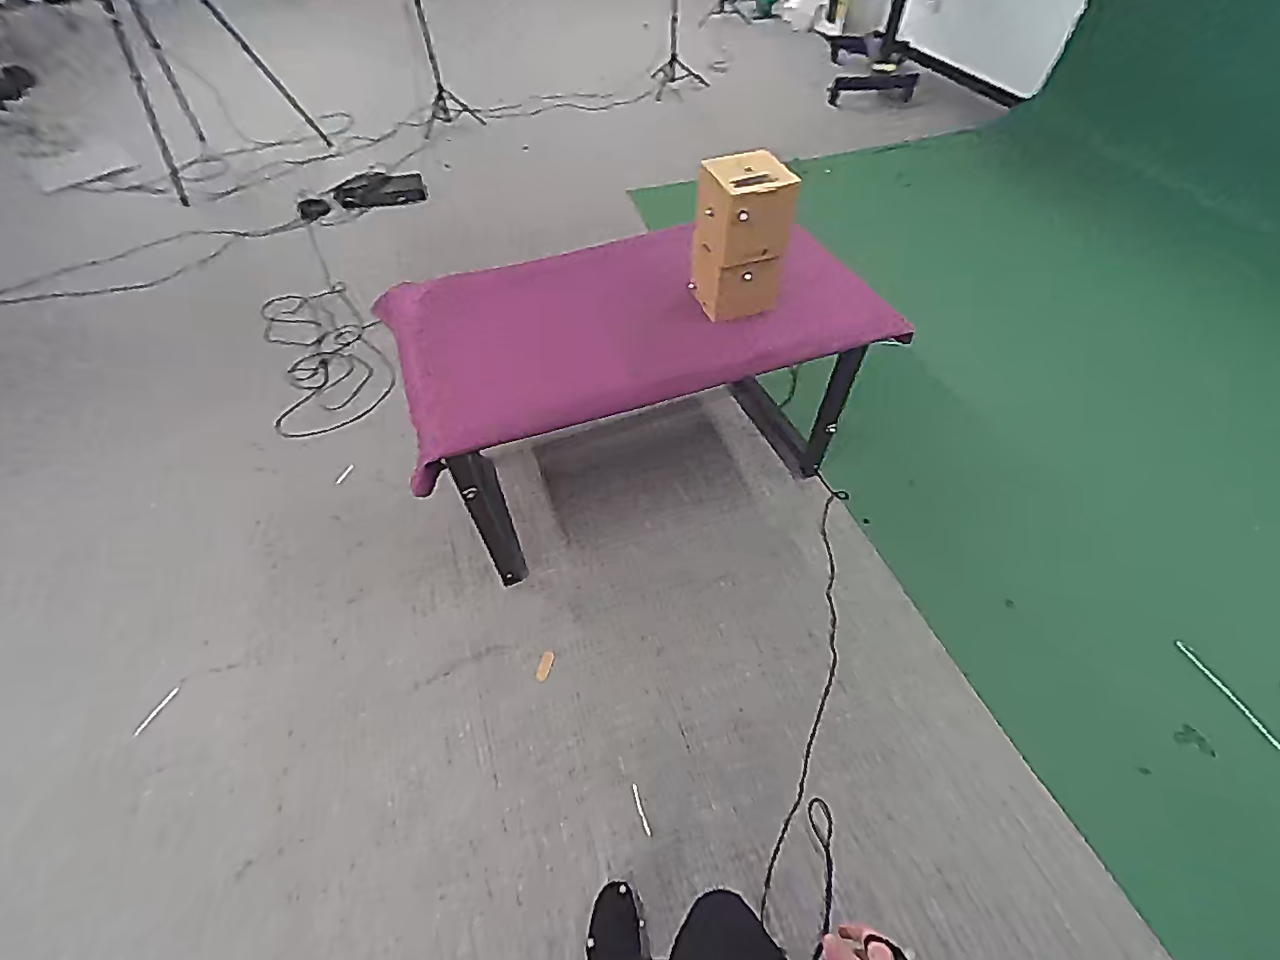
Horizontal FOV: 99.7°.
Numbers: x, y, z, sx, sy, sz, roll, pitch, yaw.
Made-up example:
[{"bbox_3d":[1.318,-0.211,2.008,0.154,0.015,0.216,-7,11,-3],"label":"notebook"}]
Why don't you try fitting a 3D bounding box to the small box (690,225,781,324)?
[{"bbox_3d":[0.236,-0.525,1.390,0.179,0.176,0.168,-15,55,-11],"label":"small box"}]
